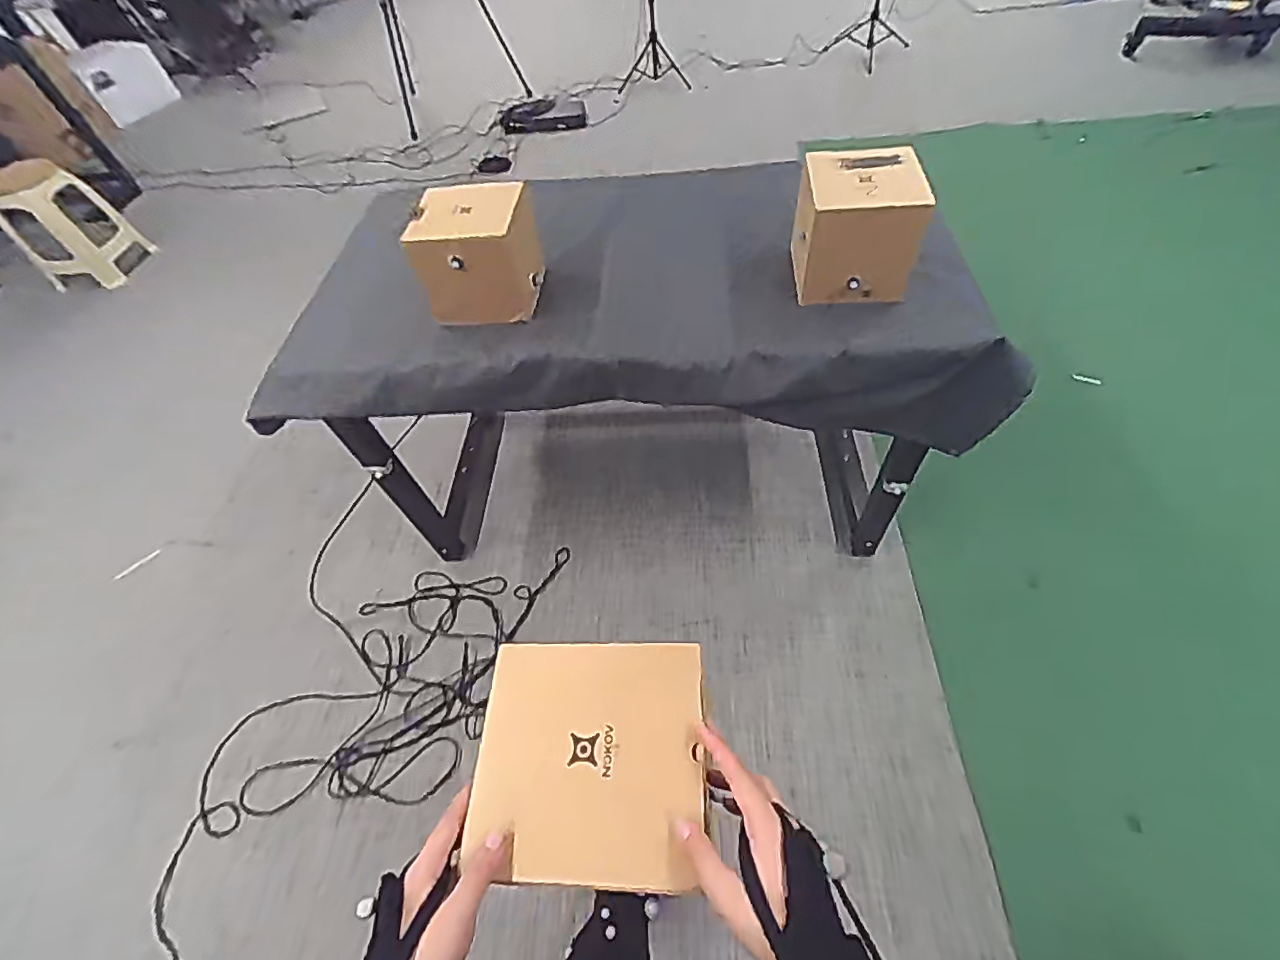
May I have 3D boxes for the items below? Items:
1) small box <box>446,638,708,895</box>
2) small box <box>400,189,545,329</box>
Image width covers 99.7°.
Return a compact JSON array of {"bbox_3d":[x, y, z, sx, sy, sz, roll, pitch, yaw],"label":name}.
[{"bbox_3d":[-0.033,0.247,0.466,0.179,0.176,0.168,-1,52,7],"label":"small box"},{"bbox_3d":[-0.278,-0.378,0.941,0.179,0.176,0.168,0,54,5],"label":"small box"}]
